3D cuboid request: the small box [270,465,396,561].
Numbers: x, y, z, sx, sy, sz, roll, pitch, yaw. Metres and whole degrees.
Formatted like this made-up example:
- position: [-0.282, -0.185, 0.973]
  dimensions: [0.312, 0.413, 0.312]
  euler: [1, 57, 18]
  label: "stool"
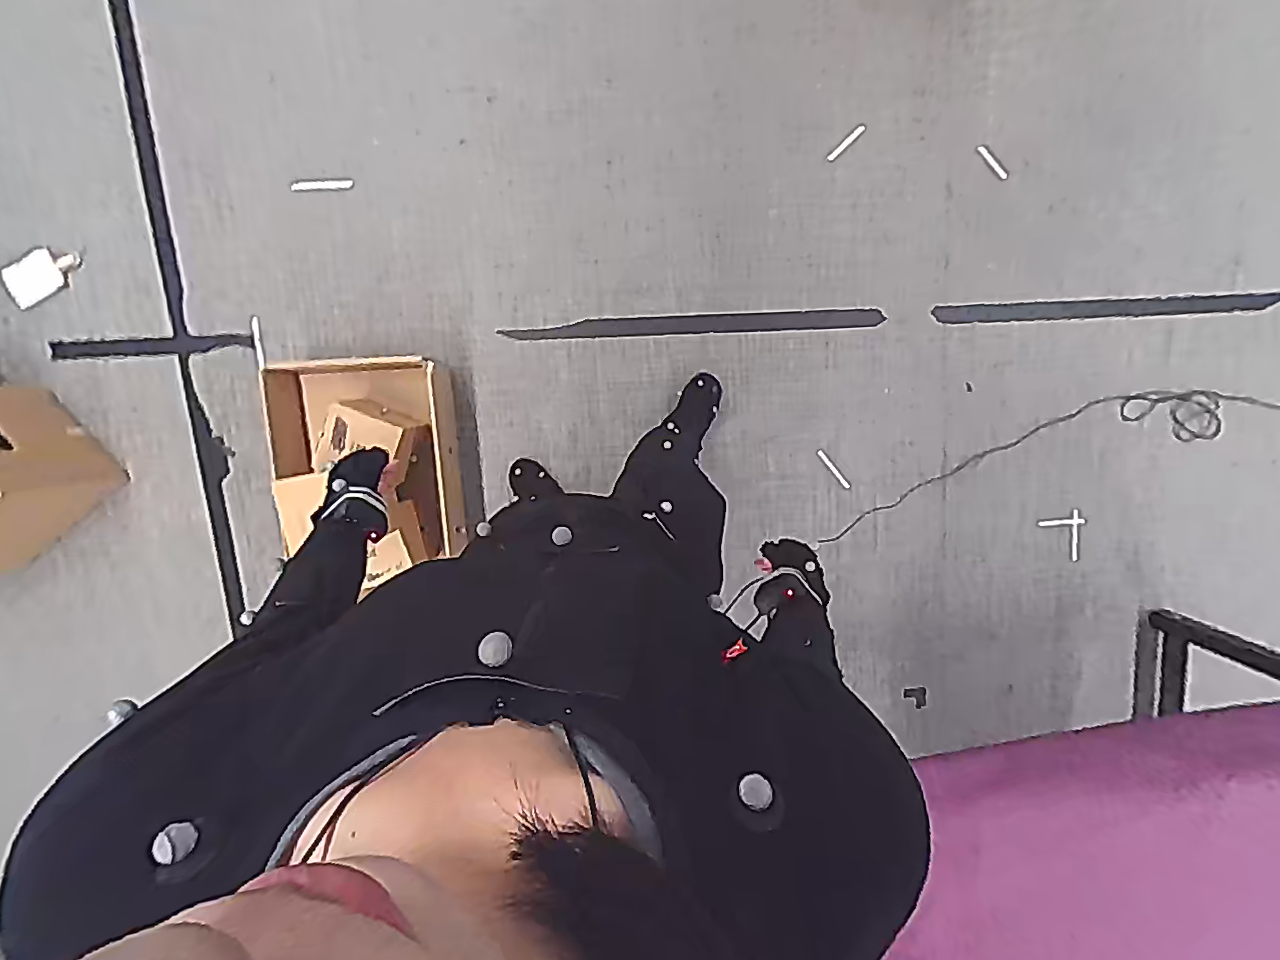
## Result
- position: [-0.662, 0.066, 1.194]
  dimensions: [0.179, 0.176, 0.168]
  euler: [-11, 97, 1]
  label: "small box"
